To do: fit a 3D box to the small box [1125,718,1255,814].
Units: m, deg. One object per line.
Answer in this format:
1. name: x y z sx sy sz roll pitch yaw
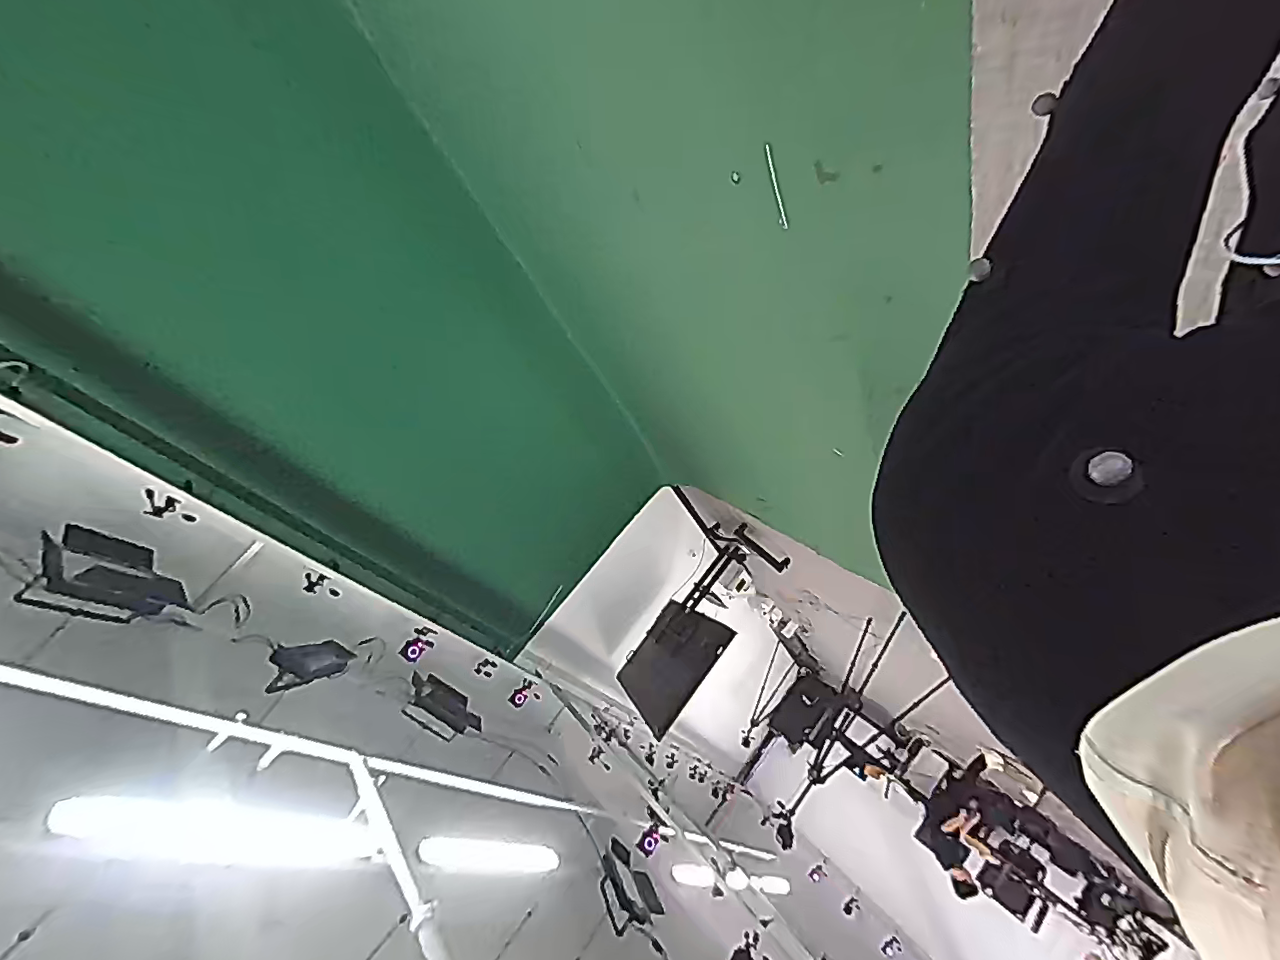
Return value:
1. small box: 1.502 0.777 1.483 0.179 0.176 0.168 32 166 35
